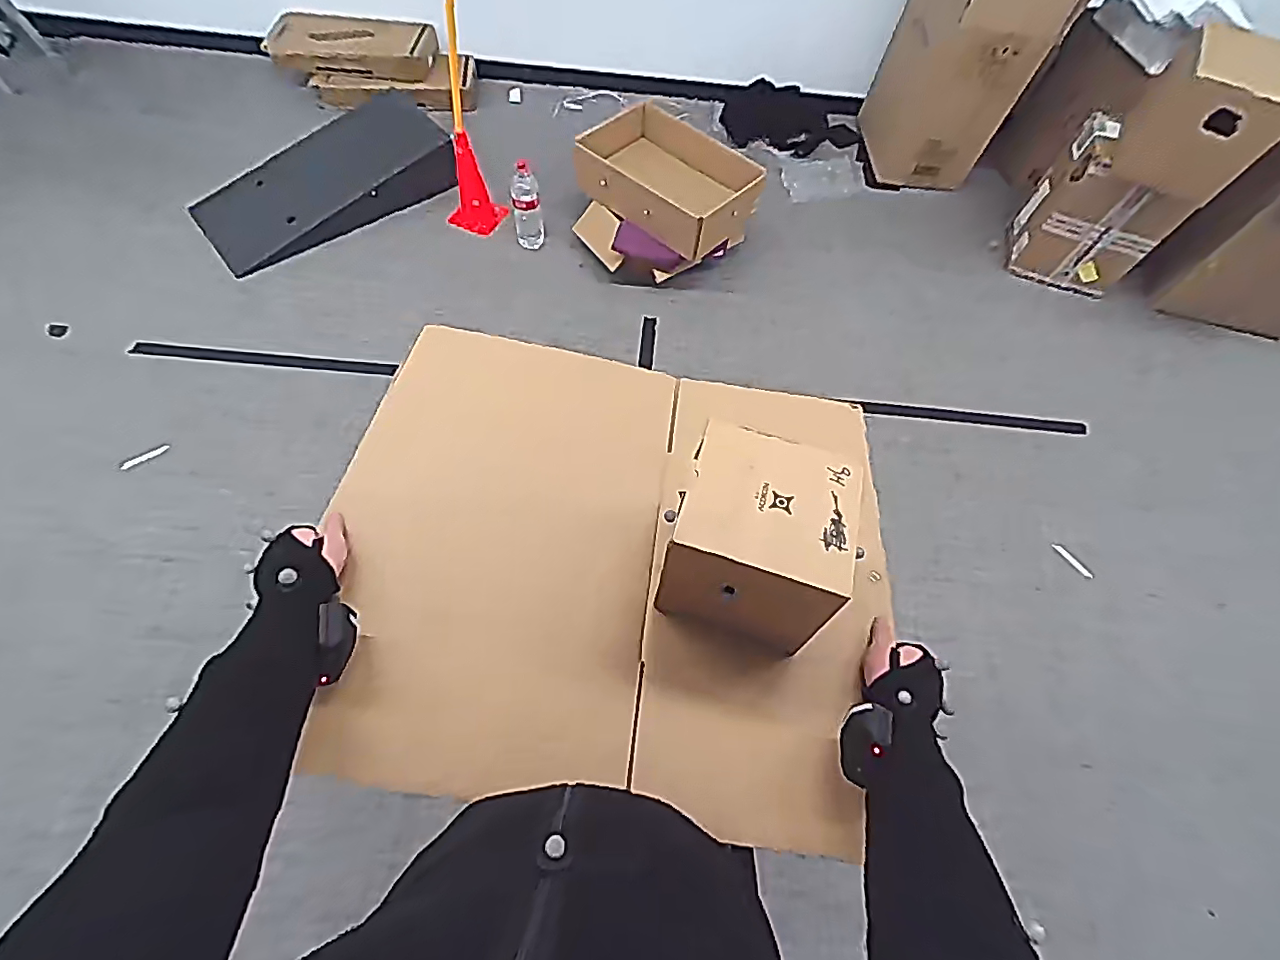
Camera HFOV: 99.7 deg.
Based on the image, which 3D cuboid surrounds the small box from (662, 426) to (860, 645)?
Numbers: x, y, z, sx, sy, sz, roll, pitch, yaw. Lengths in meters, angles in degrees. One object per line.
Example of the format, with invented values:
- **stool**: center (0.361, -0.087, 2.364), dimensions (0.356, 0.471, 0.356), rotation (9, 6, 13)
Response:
- **small box**: center (0.130, 0.070, 0.621), dimensions (0.179, 0.176, 0.168), rotation (16, 56, 7)
